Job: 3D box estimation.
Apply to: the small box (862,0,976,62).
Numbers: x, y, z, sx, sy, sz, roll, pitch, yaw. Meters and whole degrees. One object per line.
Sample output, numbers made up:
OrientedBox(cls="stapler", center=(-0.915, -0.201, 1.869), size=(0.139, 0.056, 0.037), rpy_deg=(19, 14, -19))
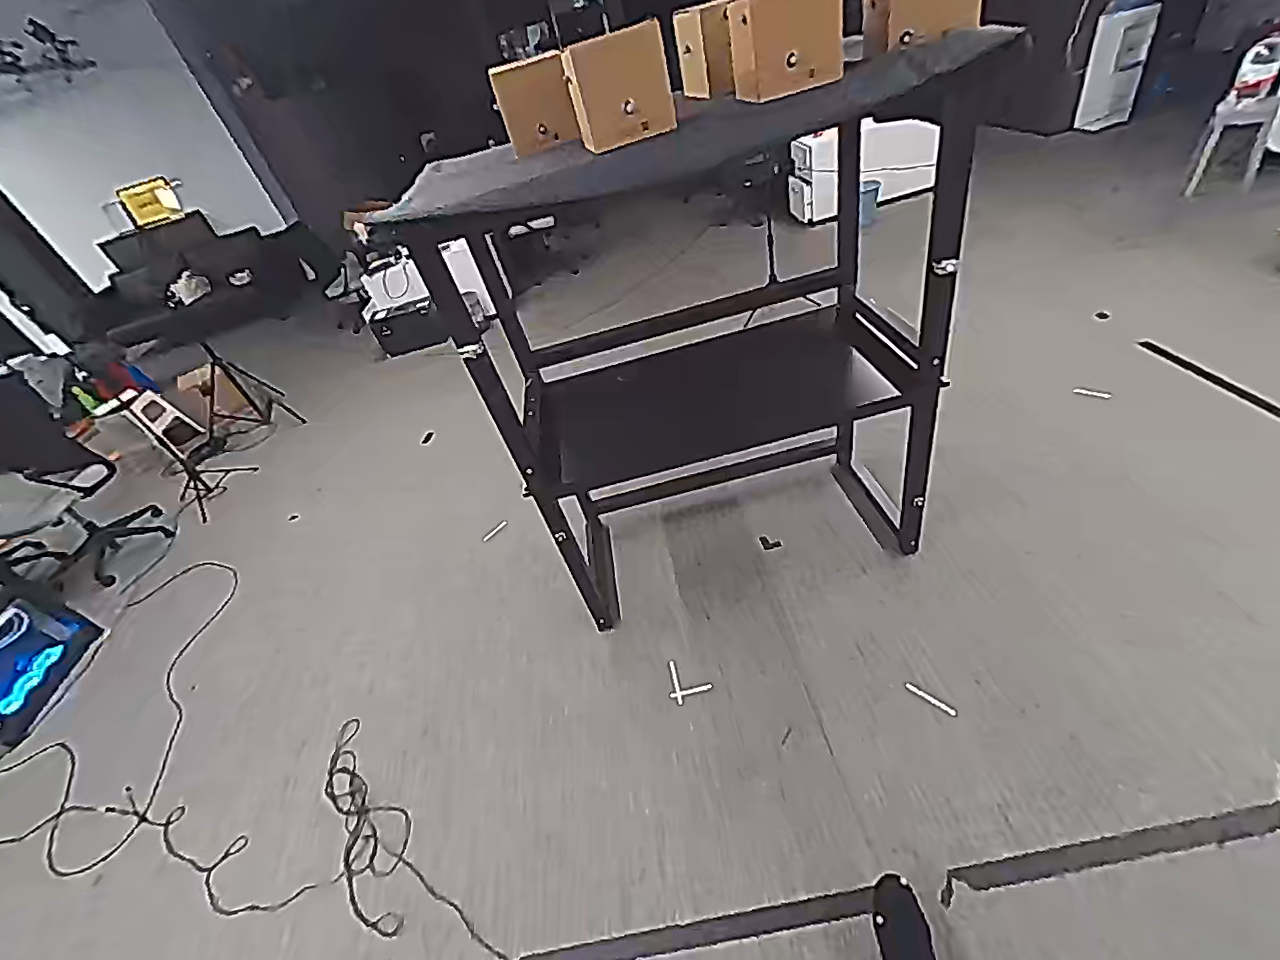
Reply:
OrientedBox(cls="small box", center=(0.538, -0.938, 1.050), size=(0.168, 0.176, 0.179), rpy_deg=(-10, 38, 10))

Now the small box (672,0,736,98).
OrientedBox(cls="small box", center=(0.191, -1.025, 1.279), size=(0.168, 0.176, 0.179), rpy_deg=(-21, 40, -4))

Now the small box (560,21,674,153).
OrientedBox(cls="small box", center=(-0.045, -0.751, 1.046), size=(0.168, 0.176, 0.179), rpy_deg=(-19, 37, -1))

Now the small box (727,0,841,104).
OrientedBox(cls="small box", center=(0.276, -0.851, 1.049), size=(0.168, 0.176, 0.179), rpy_deg=(-15, 38, 3))
